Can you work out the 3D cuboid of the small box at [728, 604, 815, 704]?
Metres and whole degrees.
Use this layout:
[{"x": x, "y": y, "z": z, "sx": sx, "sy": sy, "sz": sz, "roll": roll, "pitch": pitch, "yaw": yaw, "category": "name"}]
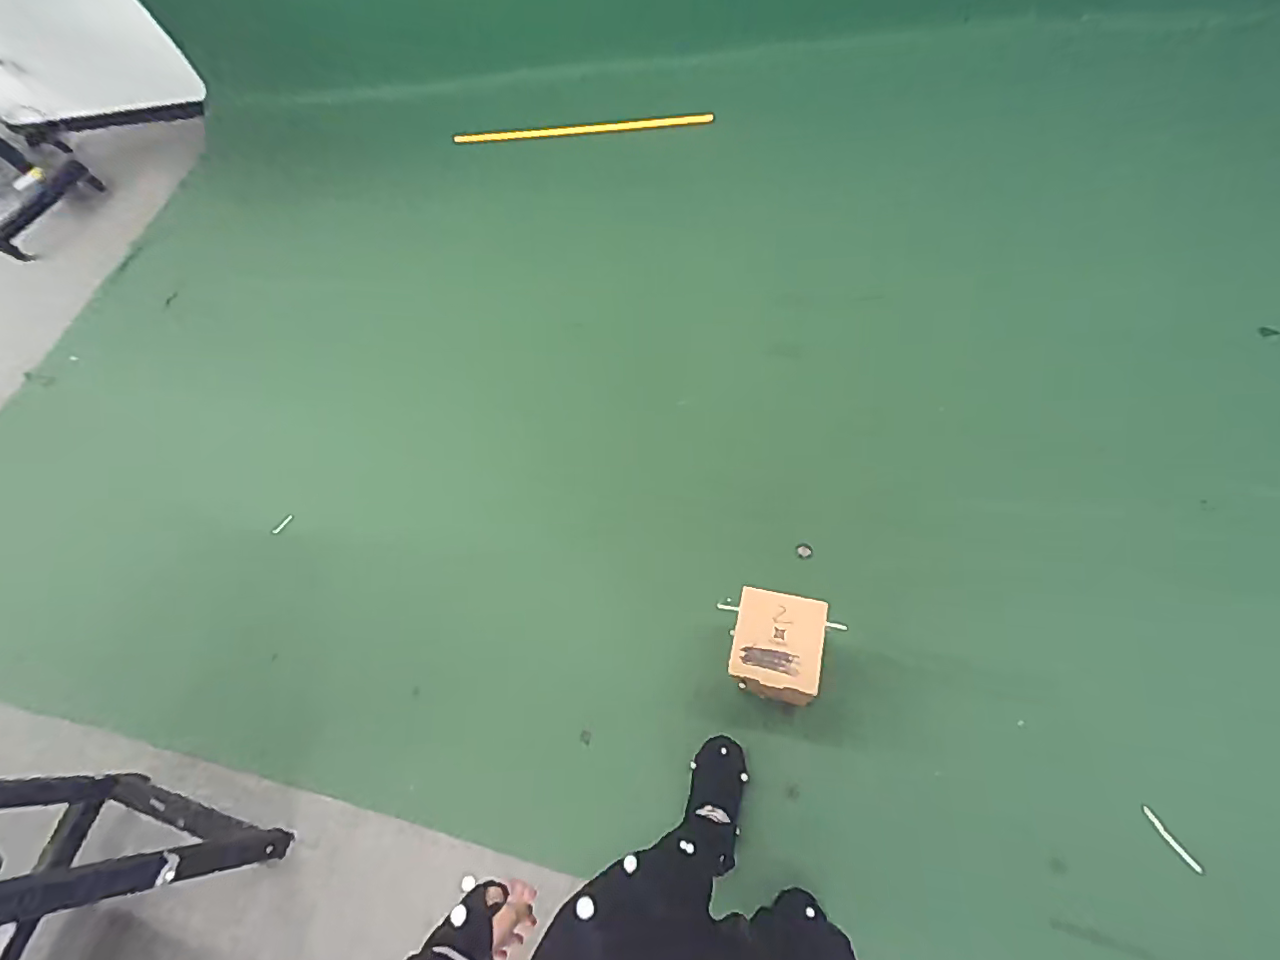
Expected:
[{"x": 0.302, "y": 0.406, "z": 1.252, "sx": 0.168, "sy": 0.176, "sz": 0.179, "roll": 9, "pitch": 68, "yaw": 16, "category": "small box"}]
